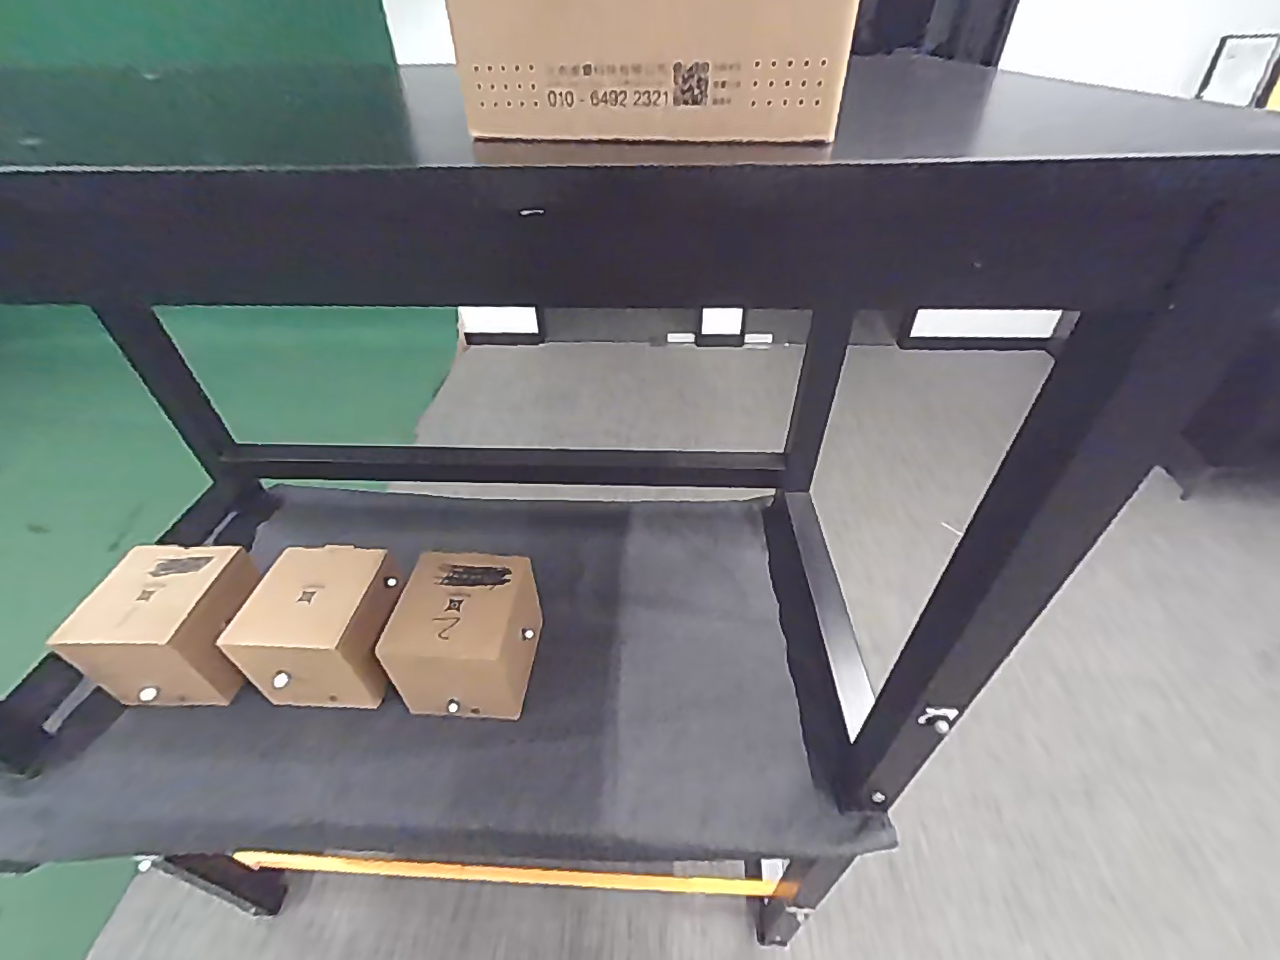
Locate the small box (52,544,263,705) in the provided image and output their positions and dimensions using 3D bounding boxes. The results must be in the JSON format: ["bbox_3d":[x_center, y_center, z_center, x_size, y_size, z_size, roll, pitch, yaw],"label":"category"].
[{"bbox_3d":[-0.694,0.217,0.825,0.168,0.176,0.179,0,40,1],"label":"small box"}]

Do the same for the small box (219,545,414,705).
[{"bbox_3d":[-0.467,0.221,0.820,0.168,0.176,0.179,2,40,3],"label":"small box"}]

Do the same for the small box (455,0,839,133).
[{"bbox_3d":[0.012,-0.273,0.255,0.168,0.176,0.179,7,40,9],"label":"small box"}]
